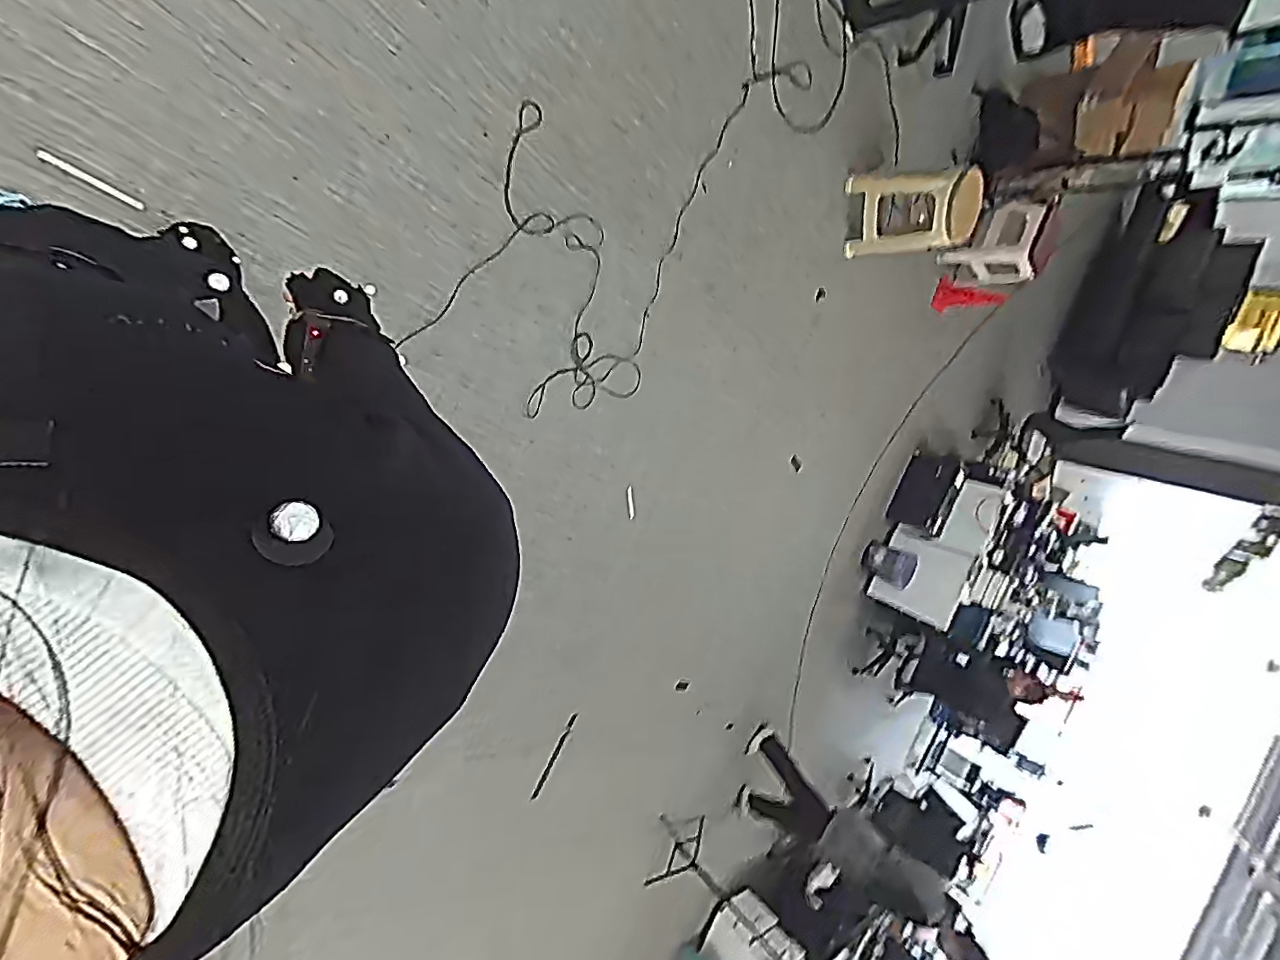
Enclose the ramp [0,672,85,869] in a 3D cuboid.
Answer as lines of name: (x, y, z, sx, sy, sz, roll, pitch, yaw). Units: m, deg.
ramp: (-1.487, 0.813, 0.908, 0.509, 0.206, 0.991, 25, 88, -44)
